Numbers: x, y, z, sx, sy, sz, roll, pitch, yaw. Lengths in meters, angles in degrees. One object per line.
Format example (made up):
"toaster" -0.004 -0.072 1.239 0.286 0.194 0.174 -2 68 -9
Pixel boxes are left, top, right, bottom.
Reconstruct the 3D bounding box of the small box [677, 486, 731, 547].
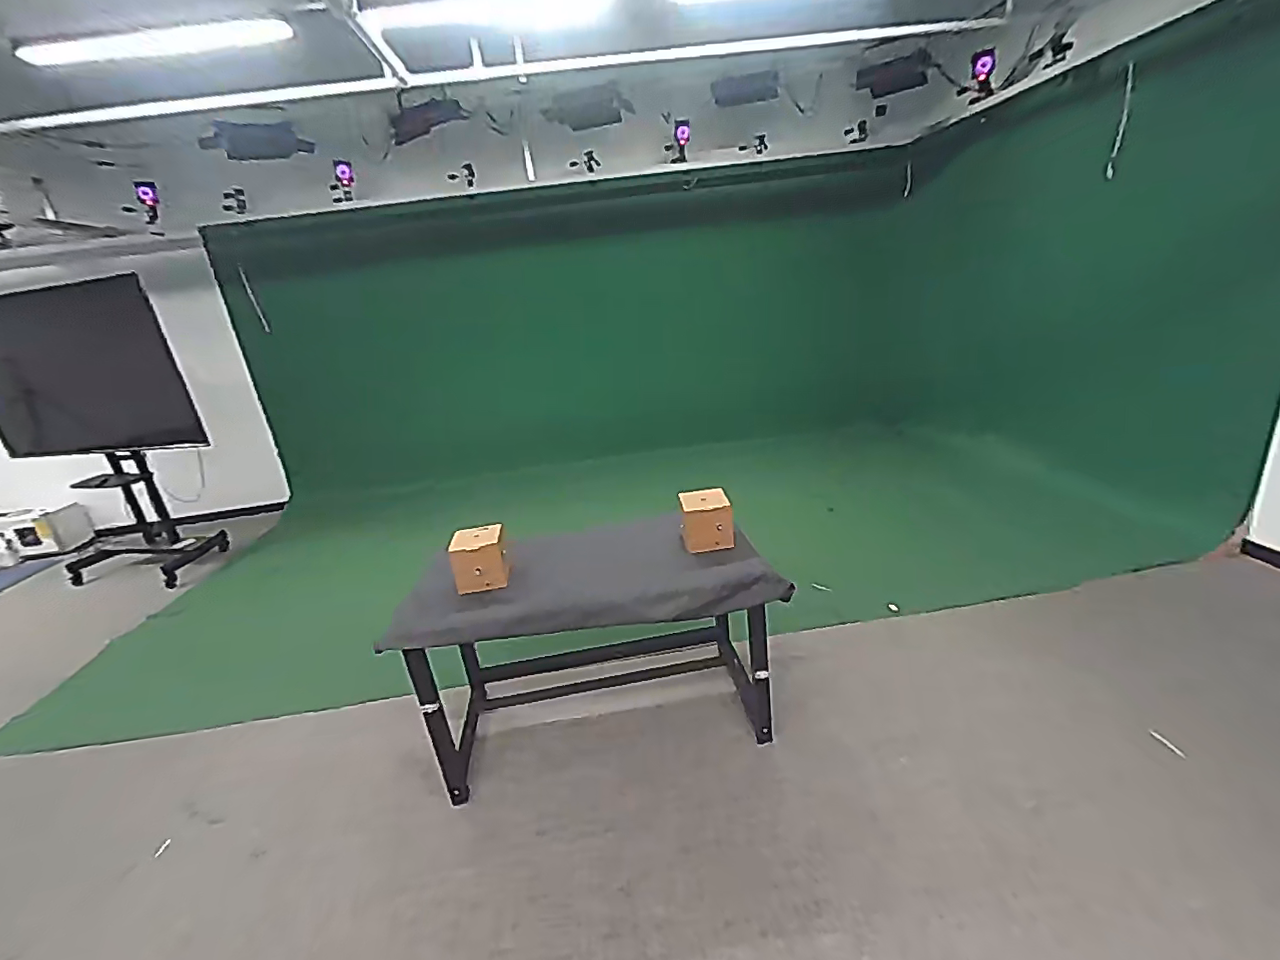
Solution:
"small box" 0.235 0.138 1.980 0.168 0.176 0.179 -7 19 -2

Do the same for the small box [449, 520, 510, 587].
"small box" -0.559 0.264 1.904 0.168 0.176 0.179 -8 21 -6
